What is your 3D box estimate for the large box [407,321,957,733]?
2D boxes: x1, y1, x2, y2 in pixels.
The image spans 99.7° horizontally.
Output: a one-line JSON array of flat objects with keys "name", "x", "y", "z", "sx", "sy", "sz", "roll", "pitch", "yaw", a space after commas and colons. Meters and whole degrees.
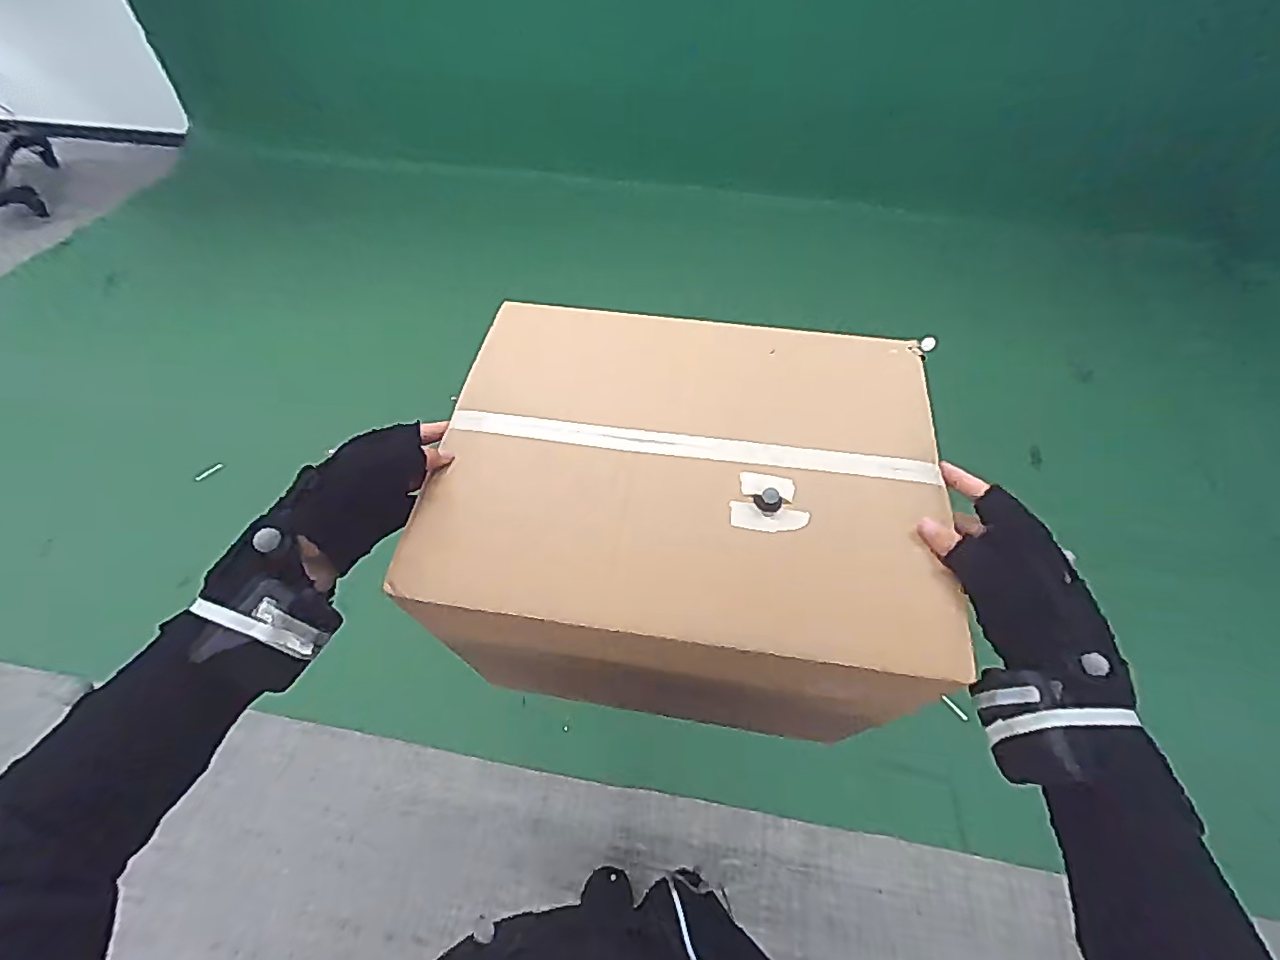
[{"name": "large box", "x": 0.042, "y": 0.062, "z": 0.588, "sx": 0.408, "sy": 0.320, "sz": 0.320, "roll": 7, "pitch": 58, "yaw": 5}]
